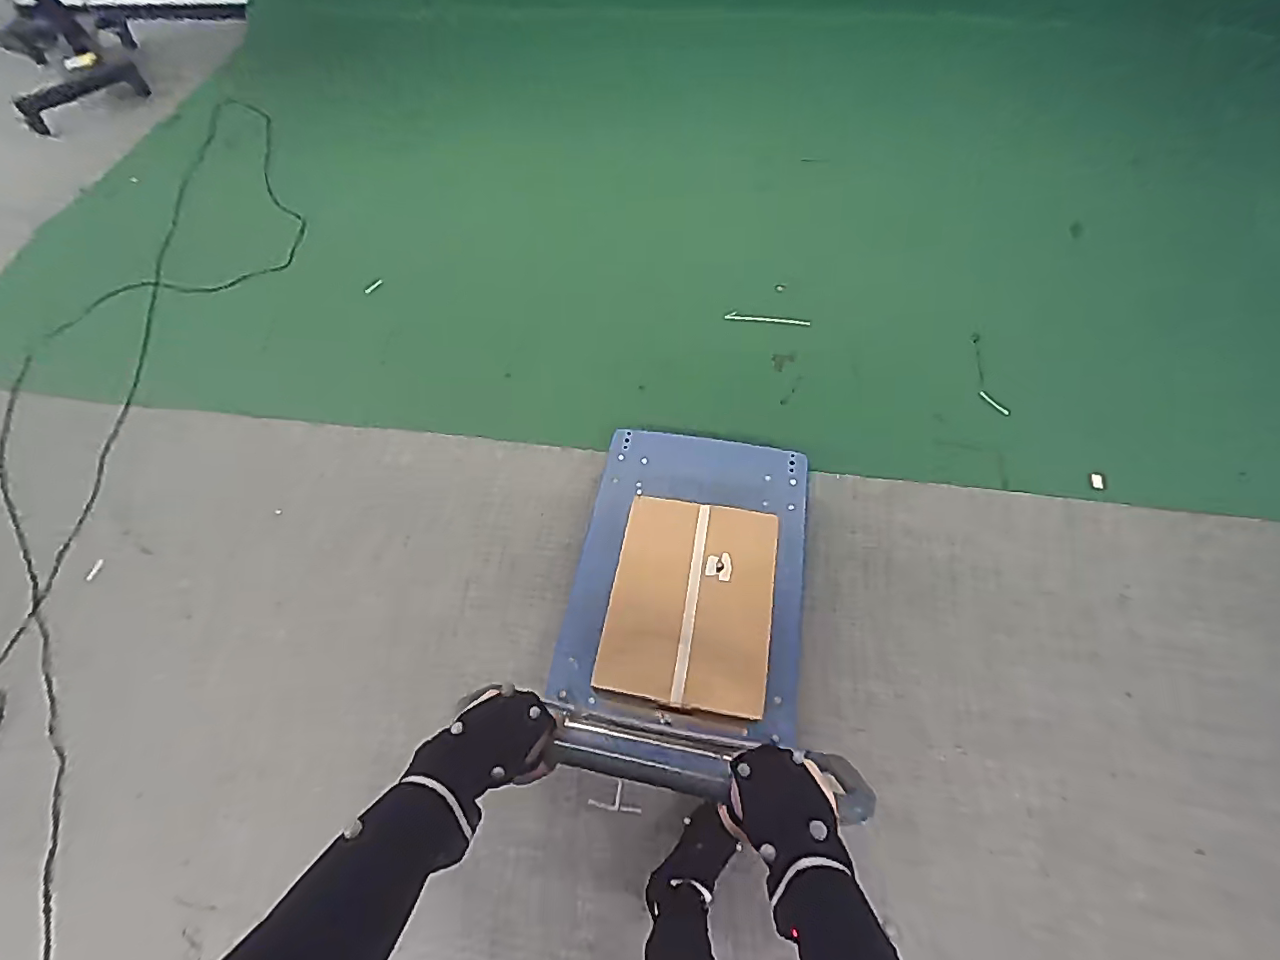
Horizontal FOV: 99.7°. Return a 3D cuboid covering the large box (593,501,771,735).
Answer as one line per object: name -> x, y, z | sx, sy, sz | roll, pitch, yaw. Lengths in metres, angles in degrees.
large box -> 0.101, 0.309, 1.194 | 0.320, 0.320, 0.408 | 8, 60, 7
